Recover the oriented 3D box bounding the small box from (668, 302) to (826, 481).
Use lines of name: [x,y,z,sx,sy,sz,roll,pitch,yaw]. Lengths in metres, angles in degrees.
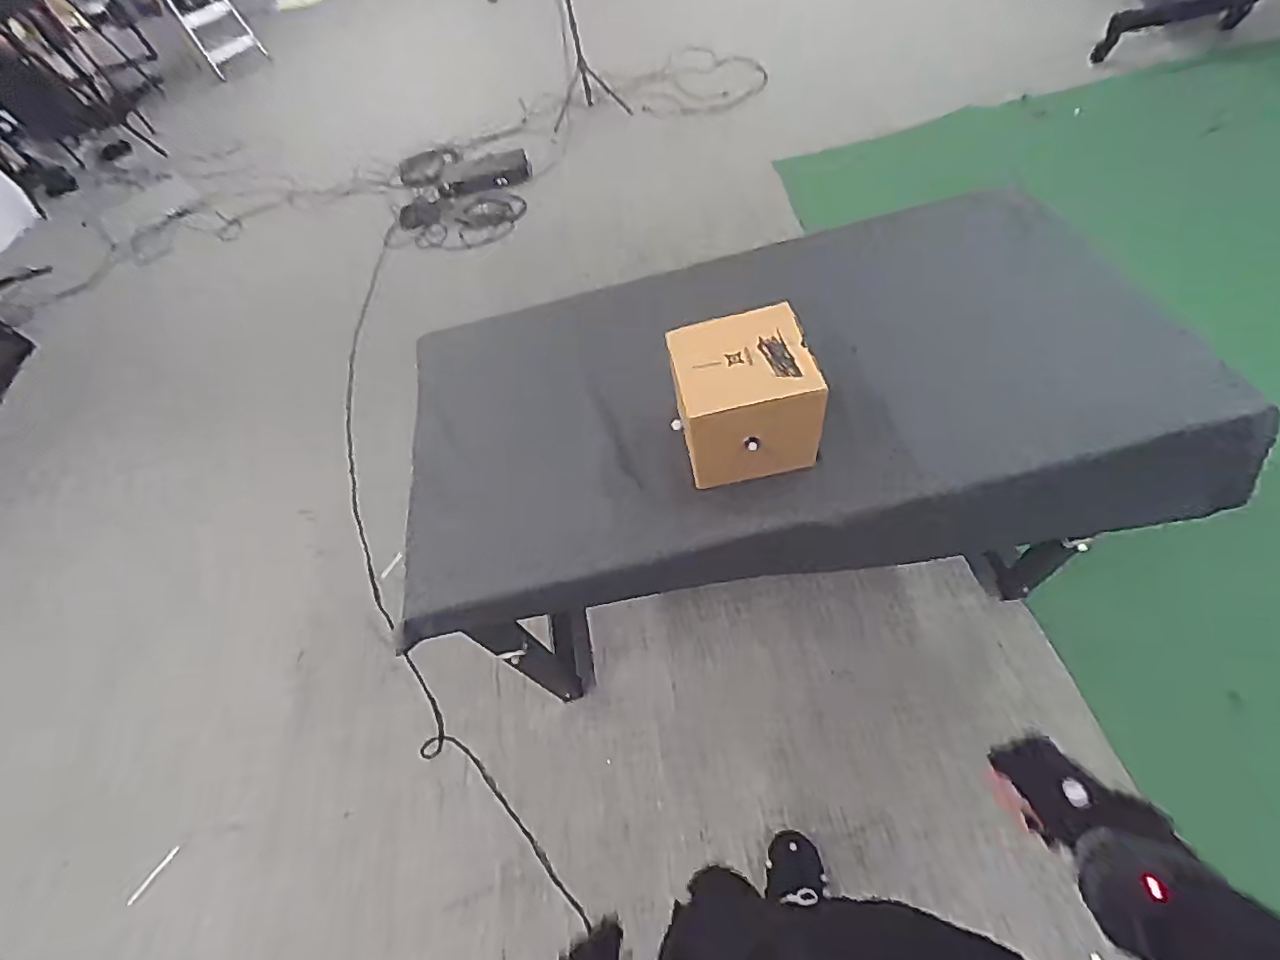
small box: [0.145,-0.120,0.772,0.179,0.176,0.168,-12,56,4]
